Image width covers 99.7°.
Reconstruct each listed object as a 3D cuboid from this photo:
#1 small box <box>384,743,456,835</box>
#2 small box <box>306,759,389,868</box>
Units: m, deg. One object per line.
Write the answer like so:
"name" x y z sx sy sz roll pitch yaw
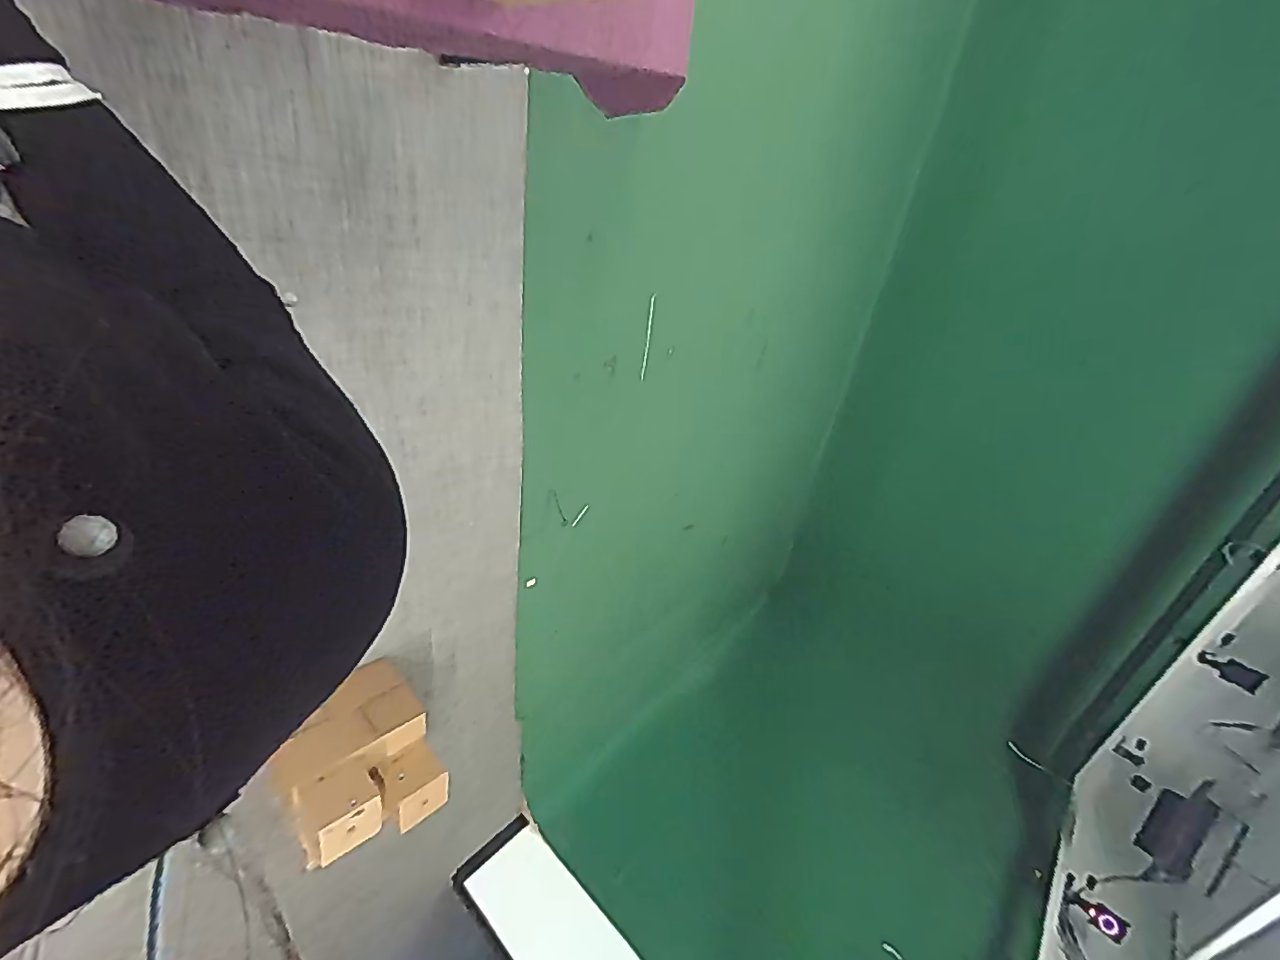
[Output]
"small box" -0.731 1.011 1.793 0.168 0.176 0.179 -20 131 -44
"small box" -0.858 0.970 1.587 0.168 0.176 0.179 -17 129 -46
